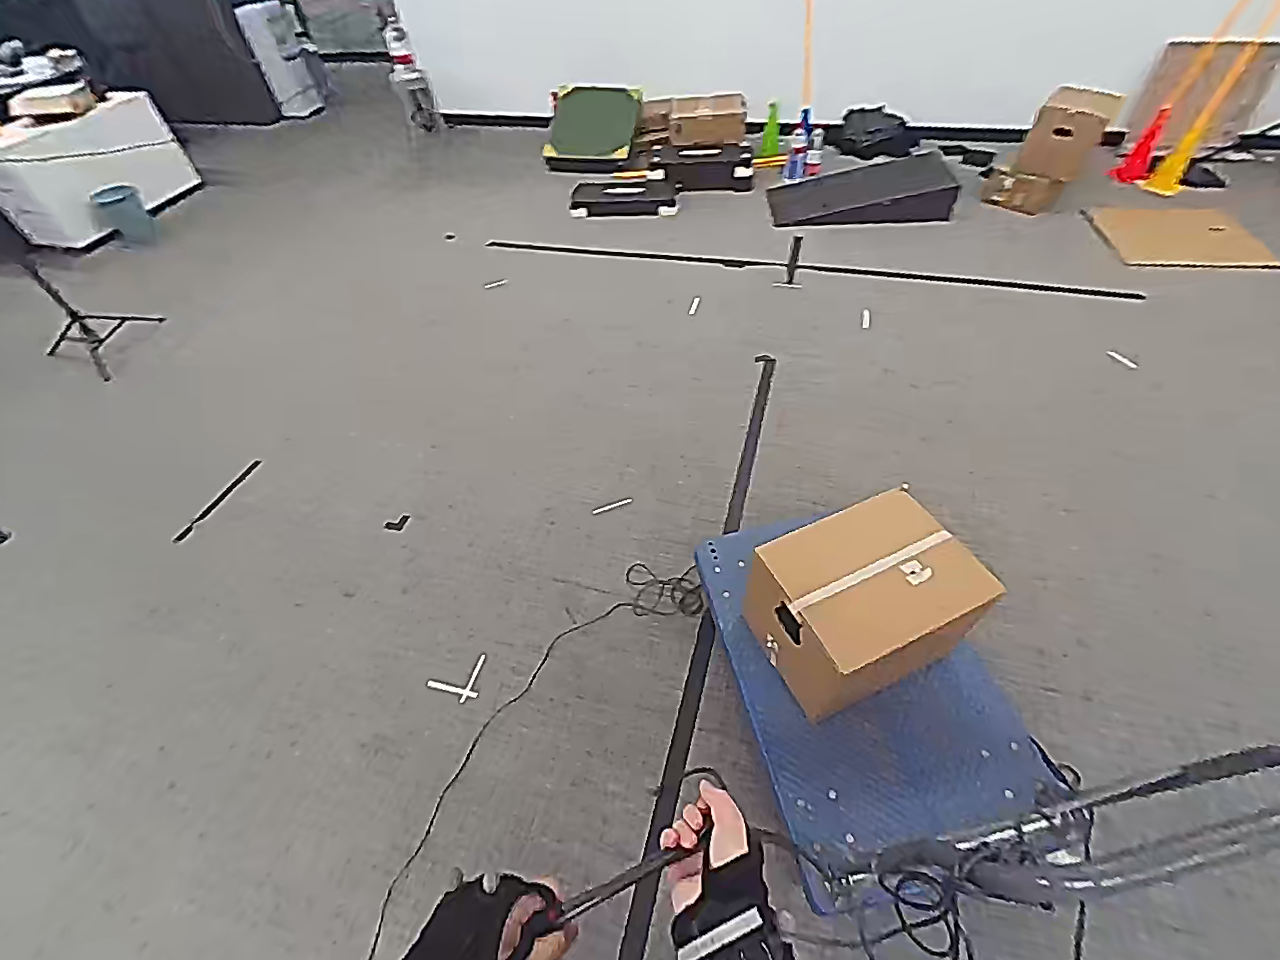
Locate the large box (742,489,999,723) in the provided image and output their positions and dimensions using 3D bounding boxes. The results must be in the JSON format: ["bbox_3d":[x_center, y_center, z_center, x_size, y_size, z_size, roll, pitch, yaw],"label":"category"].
[{"bbox_3d":[0.494,0.288,1.247,0.408,0.320,0.320,-20,52,-14],"label":"large box"}]
